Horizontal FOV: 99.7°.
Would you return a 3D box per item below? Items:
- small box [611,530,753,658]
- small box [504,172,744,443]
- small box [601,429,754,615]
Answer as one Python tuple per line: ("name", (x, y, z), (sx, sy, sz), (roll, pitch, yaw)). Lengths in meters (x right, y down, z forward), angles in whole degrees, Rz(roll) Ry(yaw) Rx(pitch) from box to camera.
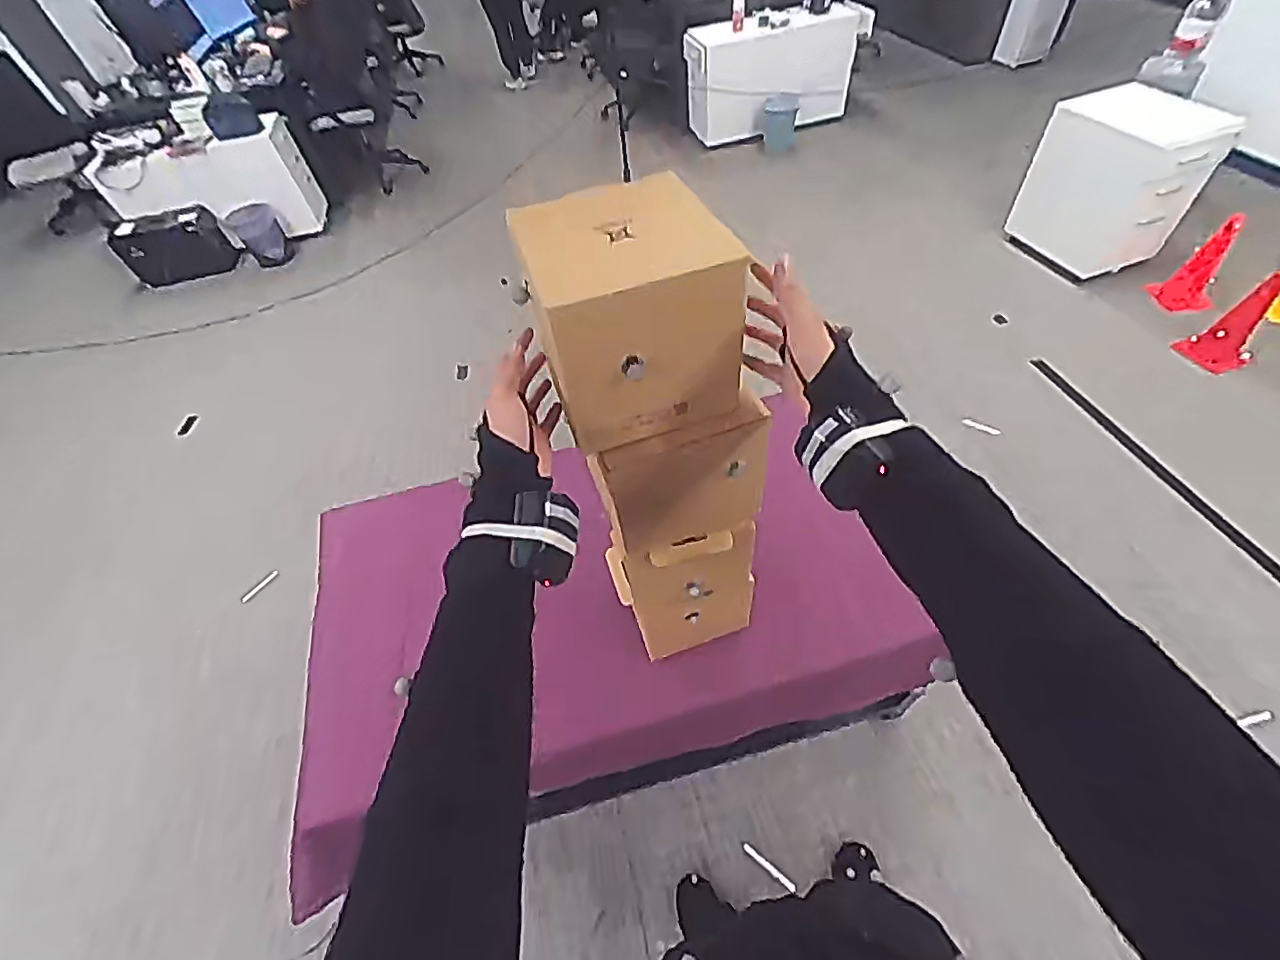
("small box", (0.068, 0.164, 0.880), (0.179, 0.176, 0.168), (-18, 52, -7))
("small box", (-0.013, -0.155, 0.512), (0.168, 0.176, 0.179), (-19, 51, -8))
("small box", (0.049, 0.060, 0.754), (0.168, 0.176, 0.179), (-14, 51, -3))
